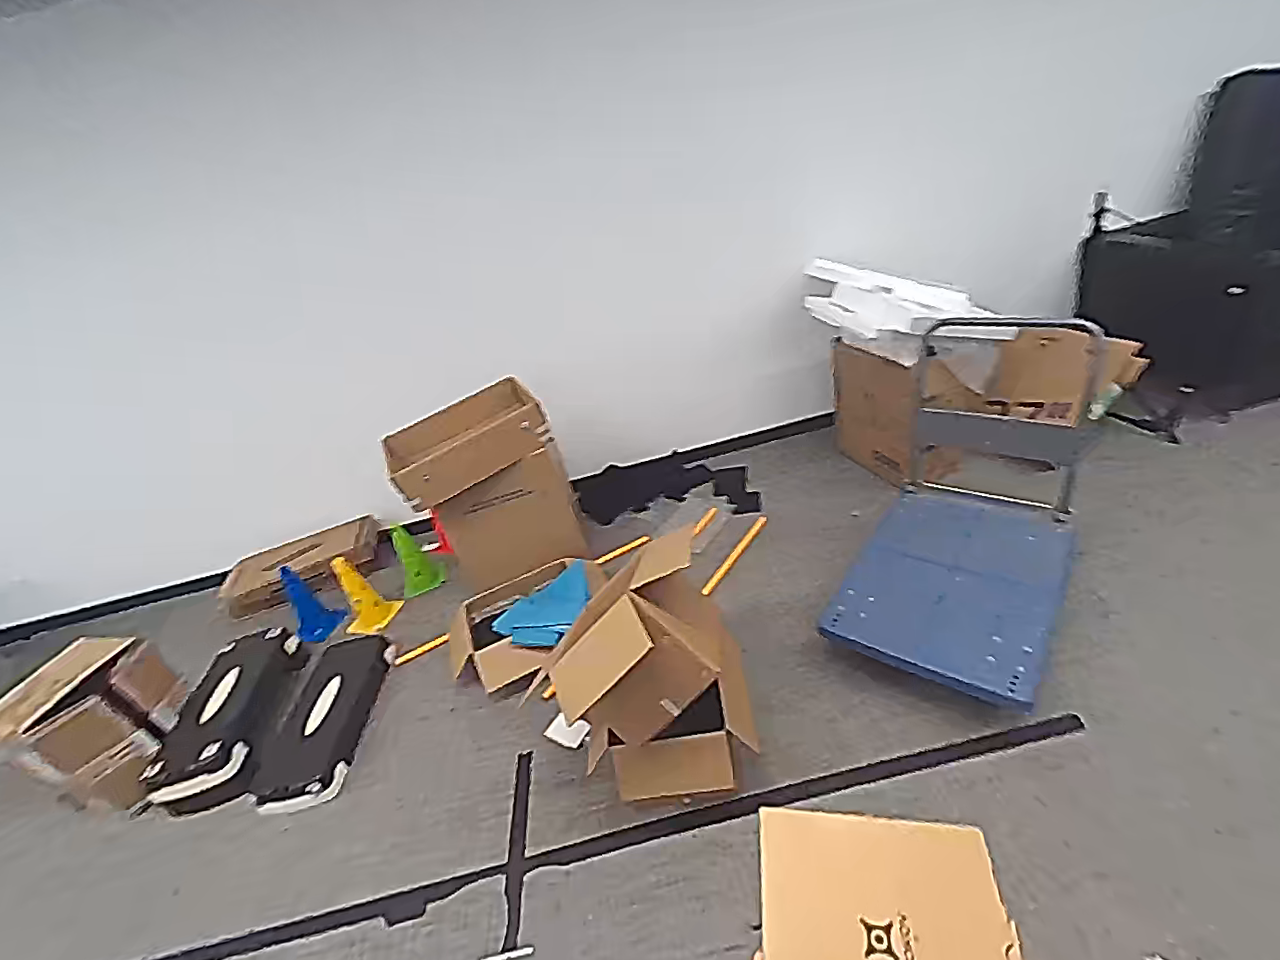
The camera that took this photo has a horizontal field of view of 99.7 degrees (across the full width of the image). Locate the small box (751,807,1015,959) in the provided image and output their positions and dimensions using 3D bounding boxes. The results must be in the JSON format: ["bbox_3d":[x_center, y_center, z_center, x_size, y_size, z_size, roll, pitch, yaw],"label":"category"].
[{"bbox_3d":[0.181,0.391,0.429,0.179,0.176,0.168,-1,36,12],"label":"small box"}]
